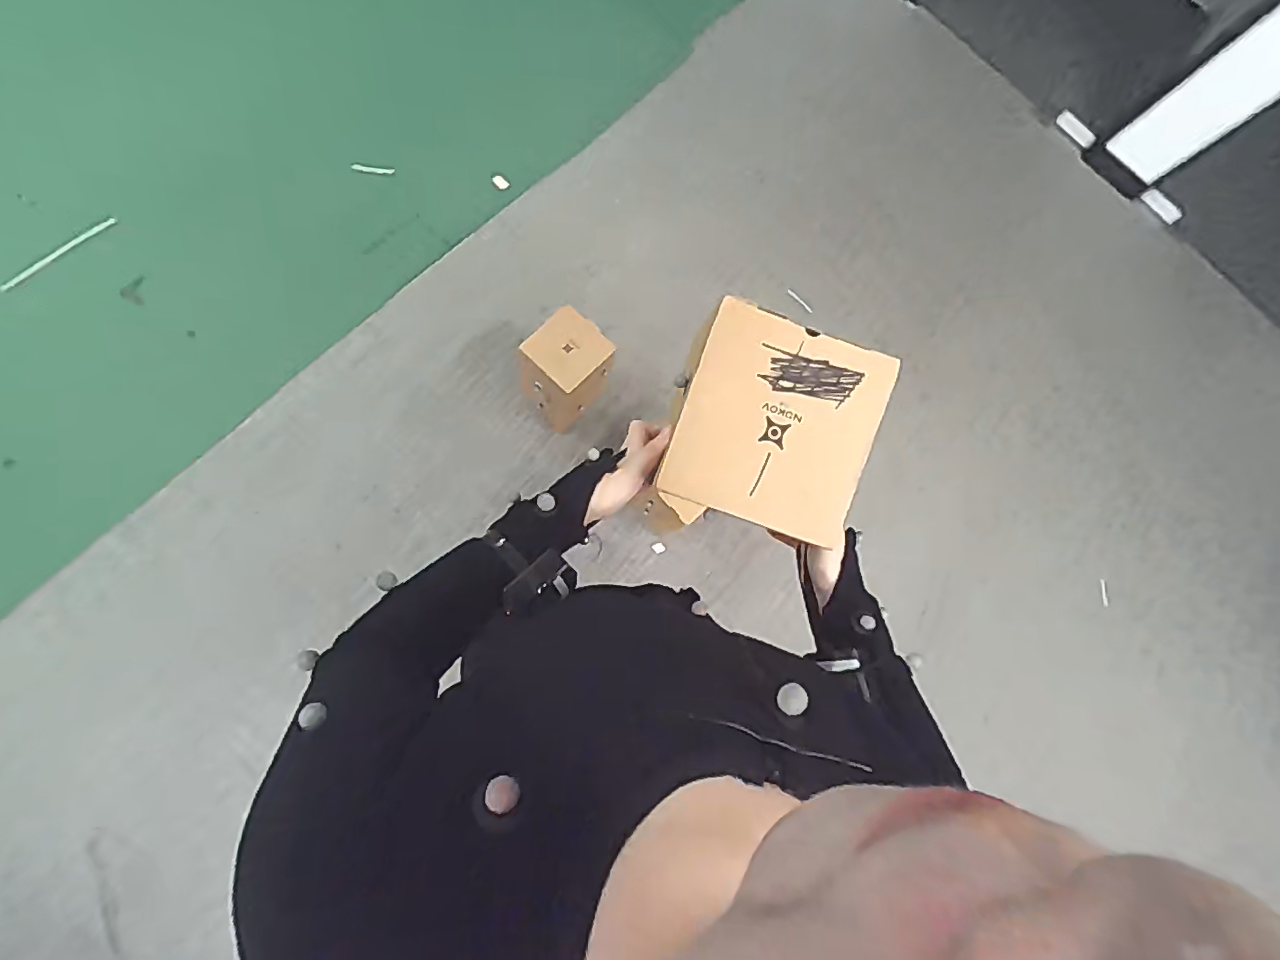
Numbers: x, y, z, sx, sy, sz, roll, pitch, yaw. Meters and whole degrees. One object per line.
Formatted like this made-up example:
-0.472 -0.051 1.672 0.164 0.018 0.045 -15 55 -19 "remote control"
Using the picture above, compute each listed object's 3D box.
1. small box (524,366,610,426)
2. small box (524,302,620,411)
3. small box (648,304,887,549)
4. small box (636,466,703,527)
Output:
-0.206 -0.279 1.528 0.179 0.176 0.168 -43 89 -14 "small box"
-0.176 -0.307 1.371 0.168 0.176 0.179 43 76 1 "small box"
0.111 -0.049 0.552 0.168 0.176 0.179 19 92 -3 "small box"
0.110 0.000 1.364 0.179 0.176 0.168 -40 88 -14 "small box"
